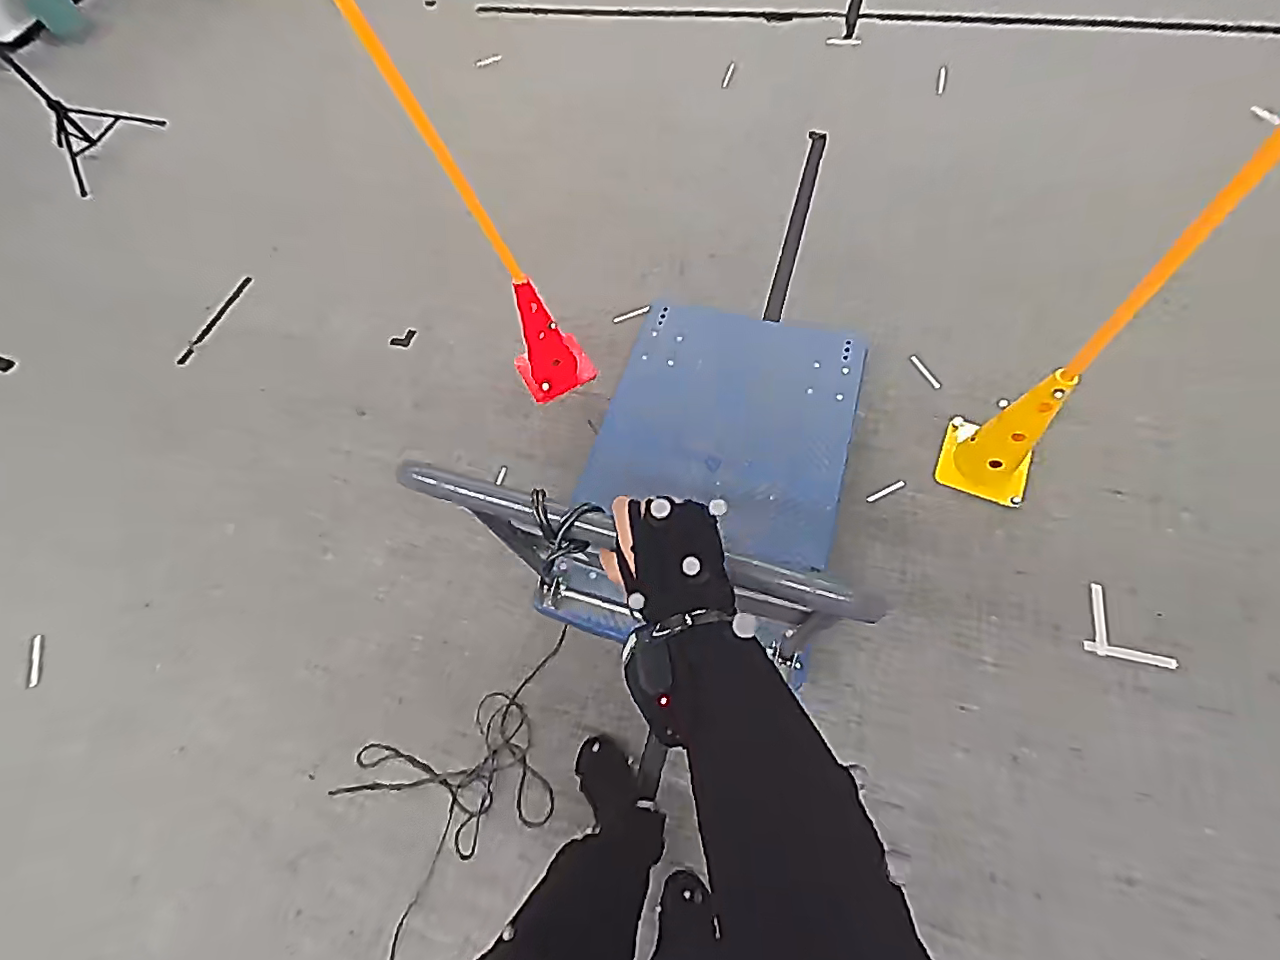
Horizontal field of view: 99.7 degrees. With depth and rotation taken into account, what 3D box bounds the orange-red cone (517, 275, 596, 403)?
[{"bbox_3d":[-0.267,-0.410,1.471,0.199,0.360,0.198,-27,65,-8],"label":"orange-red cone"}]
